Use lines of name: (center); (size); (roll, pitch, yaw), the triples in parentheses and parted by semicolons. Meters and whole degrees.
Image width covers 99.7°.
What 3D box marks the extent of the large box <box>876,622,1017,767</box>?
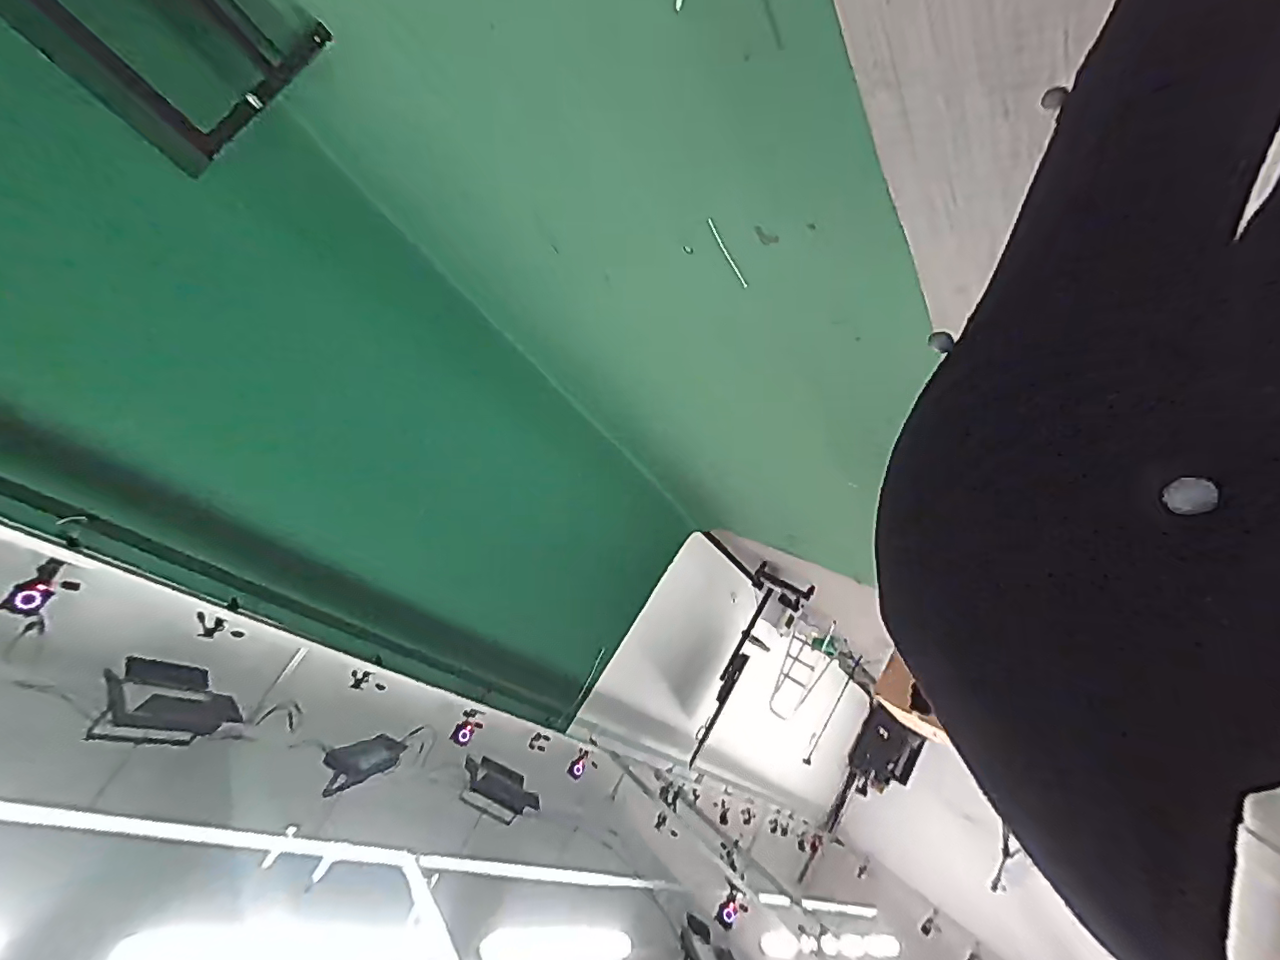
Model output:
large box: (1.135, 0.783, 1.986); (0.320, 0.320, 0.408); (17, 159, 47)
